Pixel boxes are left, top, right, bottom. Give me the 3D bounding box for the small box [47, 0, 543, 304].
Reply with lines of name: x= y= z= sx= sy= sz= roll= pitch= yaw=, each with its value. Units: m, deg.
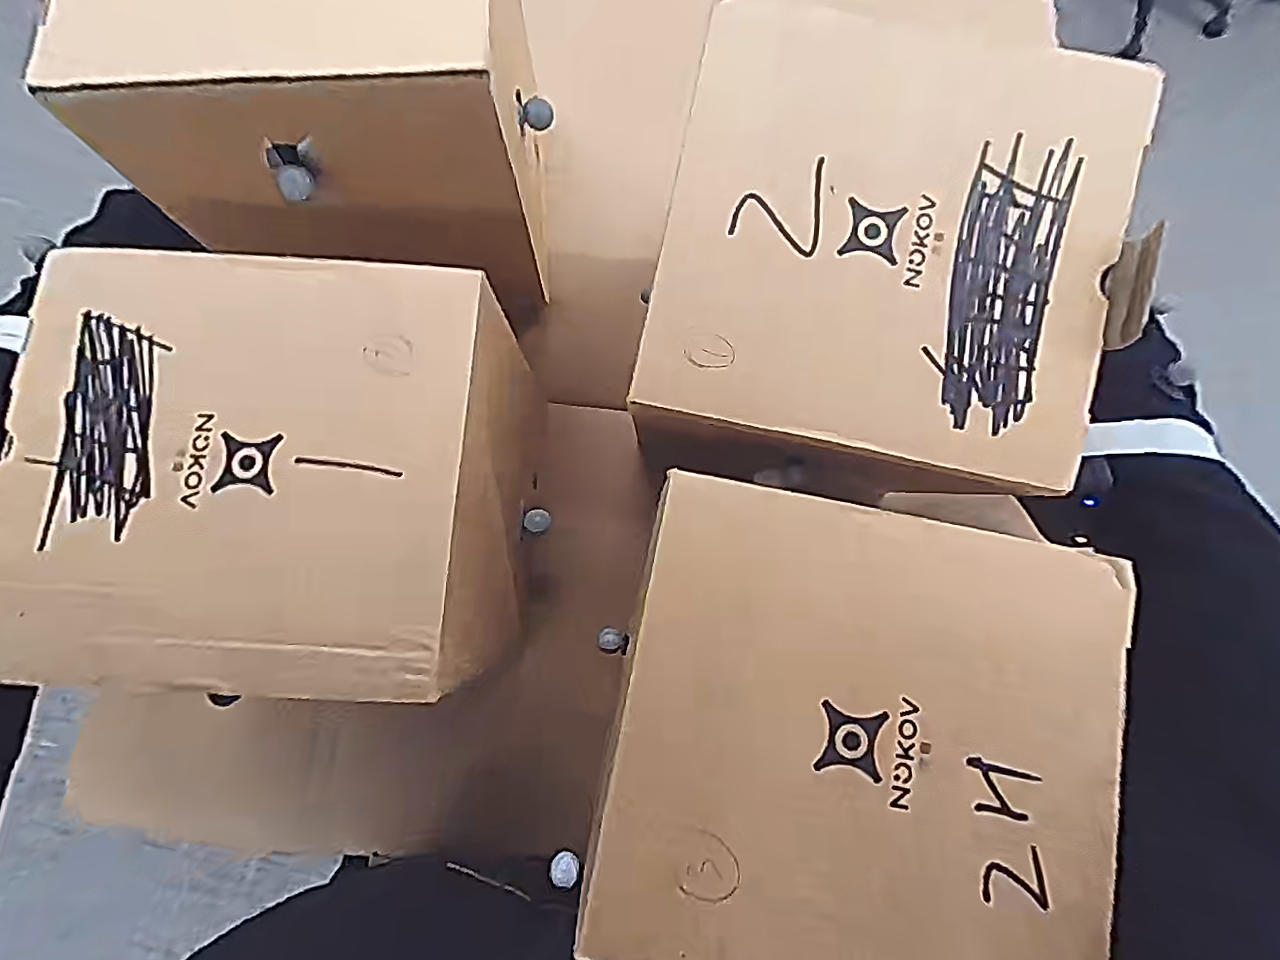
small box: x=-0.152 y=-0.219 z=0.310 sx=0.179 sy=0.176 sz=0.168 roll=-4 pitch=77 yaw=0
